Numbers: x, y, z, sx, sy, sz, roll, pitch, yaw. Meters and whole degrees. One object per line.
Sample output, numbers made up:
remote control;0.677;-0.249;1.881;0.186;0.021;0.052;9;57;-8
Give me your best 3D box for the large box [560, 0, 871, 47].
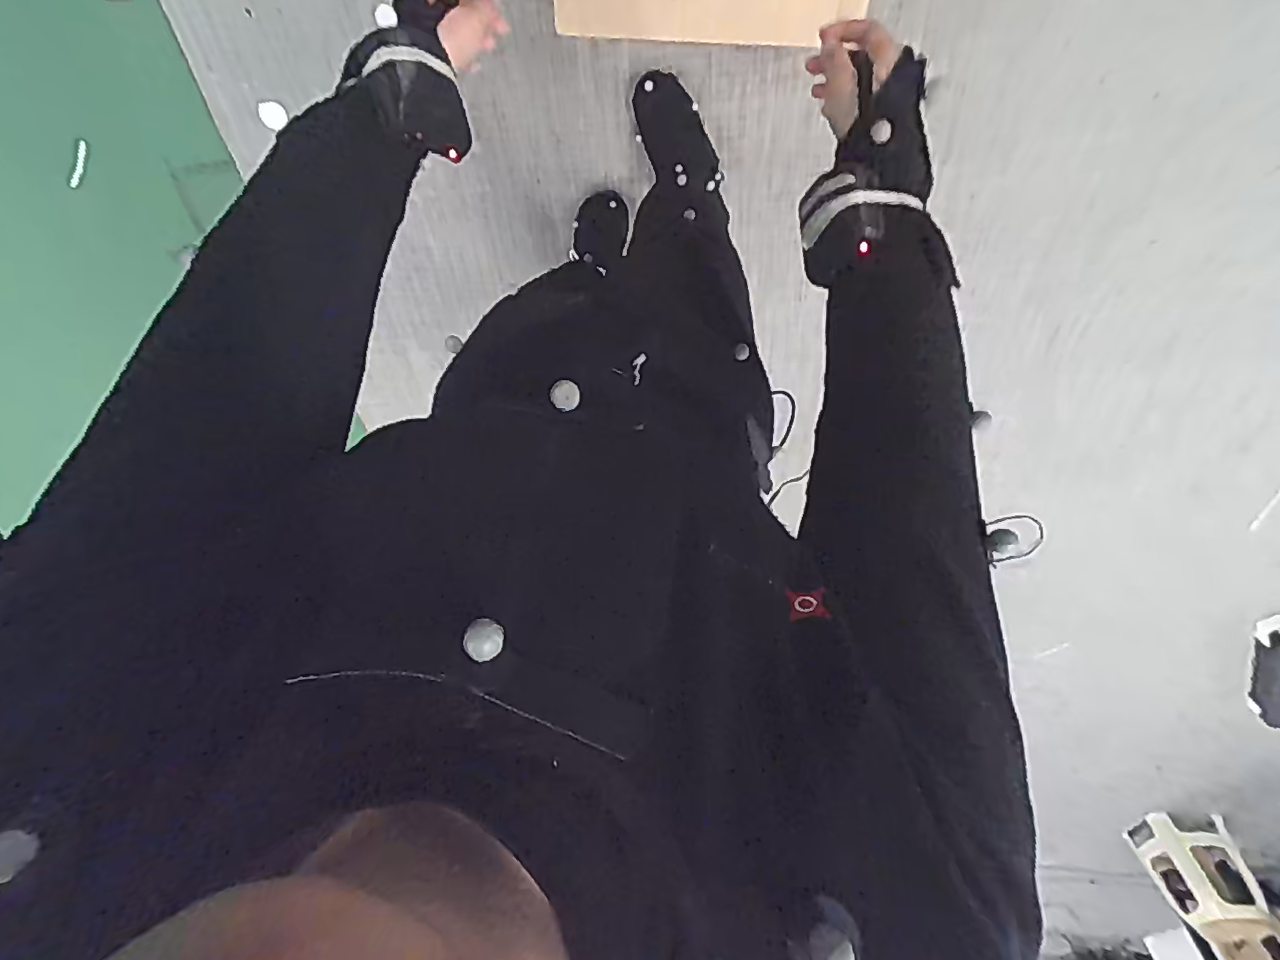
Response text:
large box;0.099;-0.791;0.734;0.408;0.320;0.320;2;130;0
